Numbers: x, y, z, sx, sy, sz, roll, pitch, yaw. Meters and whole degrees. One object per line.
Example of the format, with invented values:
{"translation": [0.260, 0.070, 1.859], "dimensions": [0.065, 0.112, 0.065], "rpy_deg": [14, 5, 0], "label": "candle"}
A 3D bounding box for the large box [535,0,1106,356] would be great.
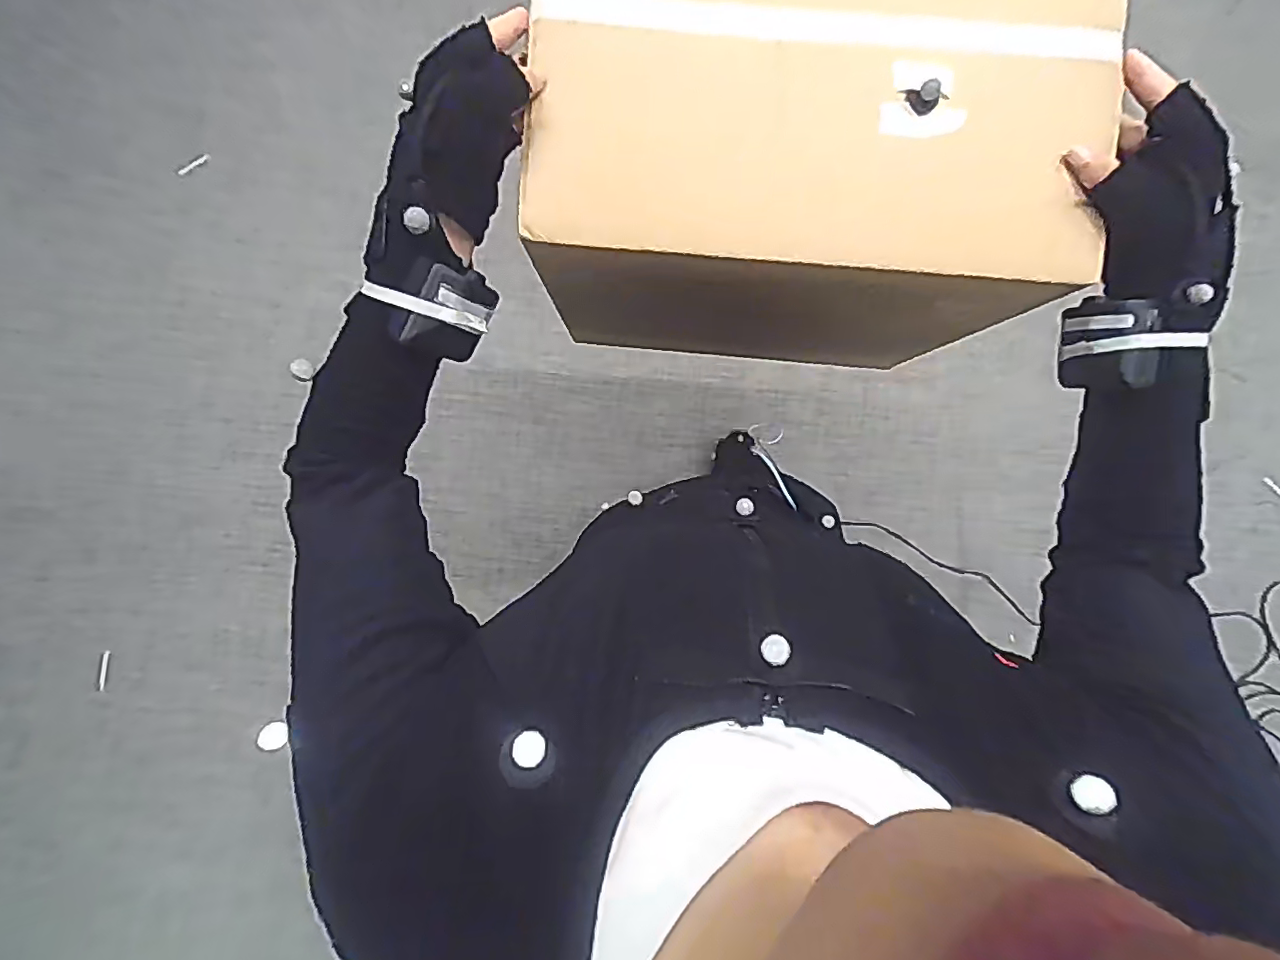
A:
{"translation": [0.126, -0.316, 0.532], "dimensions": [0.408, 0.320, 0.320], "rpy_deg": [4, 91, -1], "label": "large box"}
